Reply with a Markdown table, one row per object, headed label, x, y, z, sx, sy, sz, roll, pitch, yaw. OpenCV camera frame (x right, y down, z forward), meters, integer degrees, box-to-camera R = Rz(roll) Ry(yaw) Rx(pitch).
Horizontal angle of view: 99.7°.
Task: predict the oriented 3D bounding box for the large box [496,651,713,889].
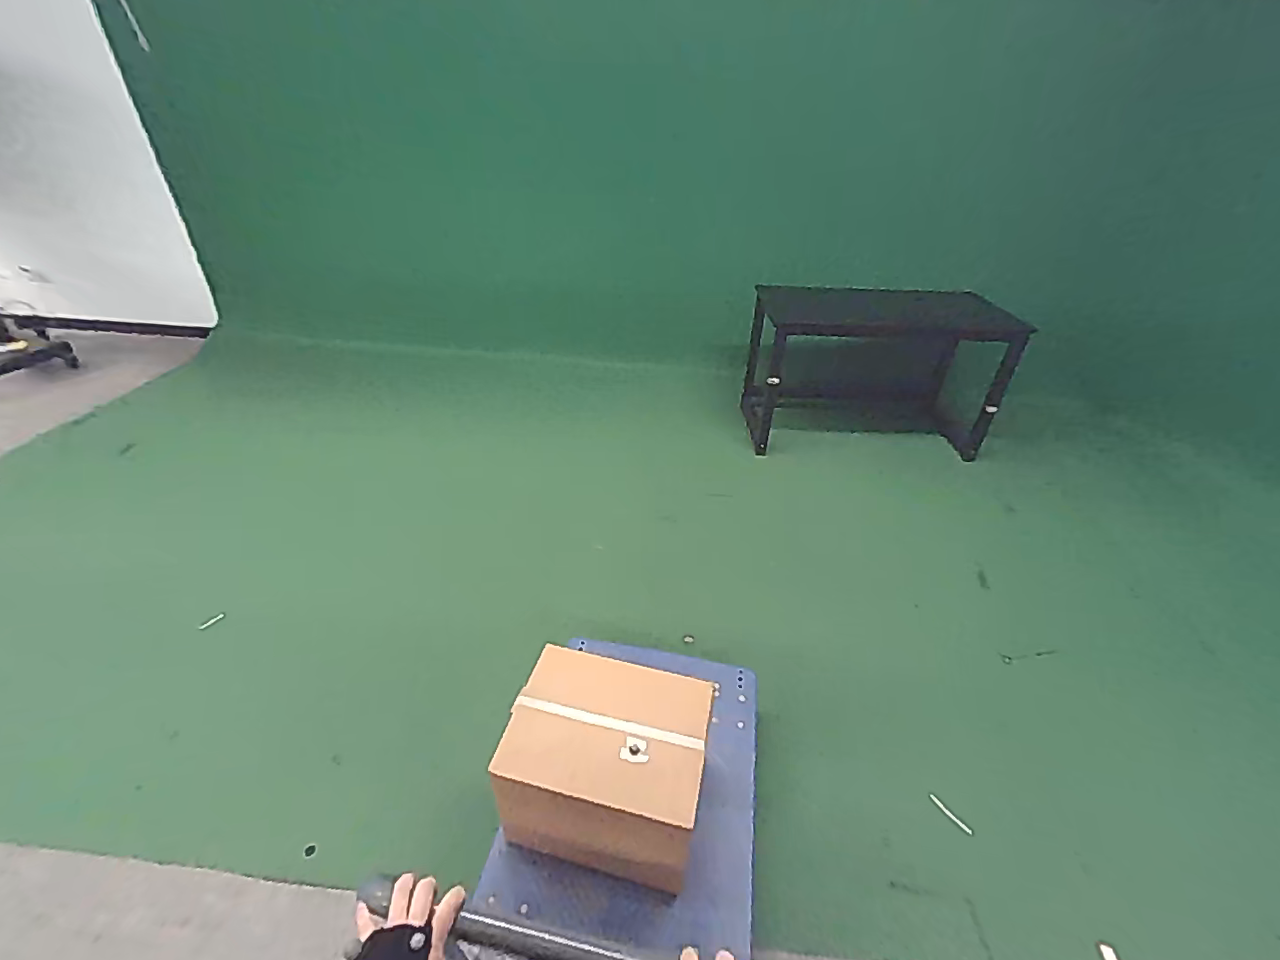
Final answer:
| label | x | y | z | sx | sy | sz | roll | pitch | yaw |
| --- | --- | --- | --- | --- | --- | --- | --- | --- | --- |
| large box | -0.068 | 0.645 | 1.226 | 0.408 | 0.320 | 0.320 | 10 | 35 | 9 |
